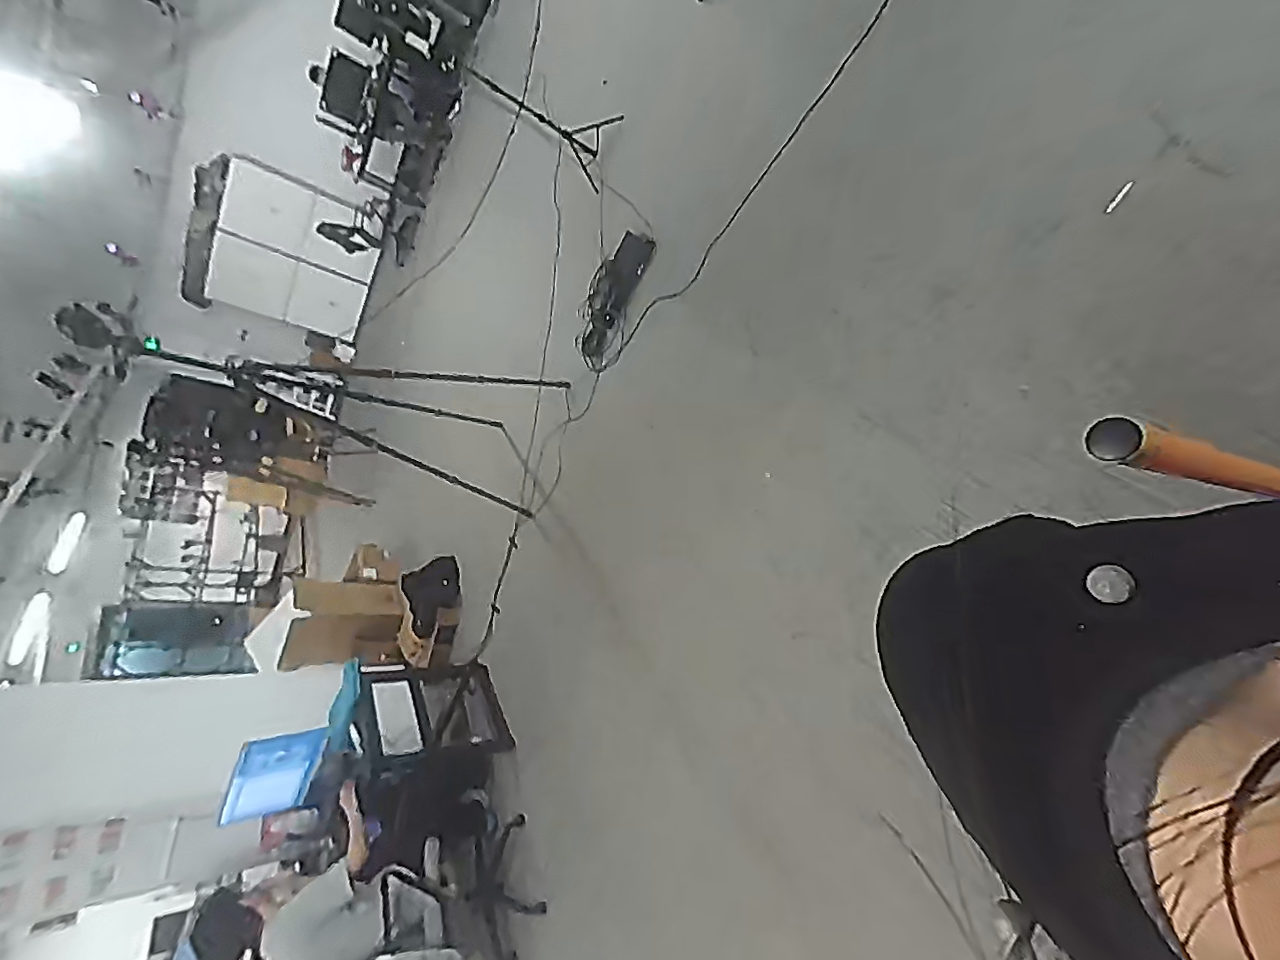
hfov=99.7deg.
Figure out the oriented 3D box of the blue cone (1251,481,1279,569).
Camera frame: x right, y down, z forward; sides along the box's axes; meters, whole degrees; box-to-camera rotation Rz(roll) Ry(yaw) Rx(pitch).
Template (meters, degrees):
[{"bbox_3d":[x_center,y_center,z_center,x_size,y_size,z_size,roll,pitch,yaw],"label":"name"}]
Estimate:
[{"bbox_3d":[1.101,0.058,0.841,0.193,0.380,0.192,-20,67,48],"label":"blue cone"}]
